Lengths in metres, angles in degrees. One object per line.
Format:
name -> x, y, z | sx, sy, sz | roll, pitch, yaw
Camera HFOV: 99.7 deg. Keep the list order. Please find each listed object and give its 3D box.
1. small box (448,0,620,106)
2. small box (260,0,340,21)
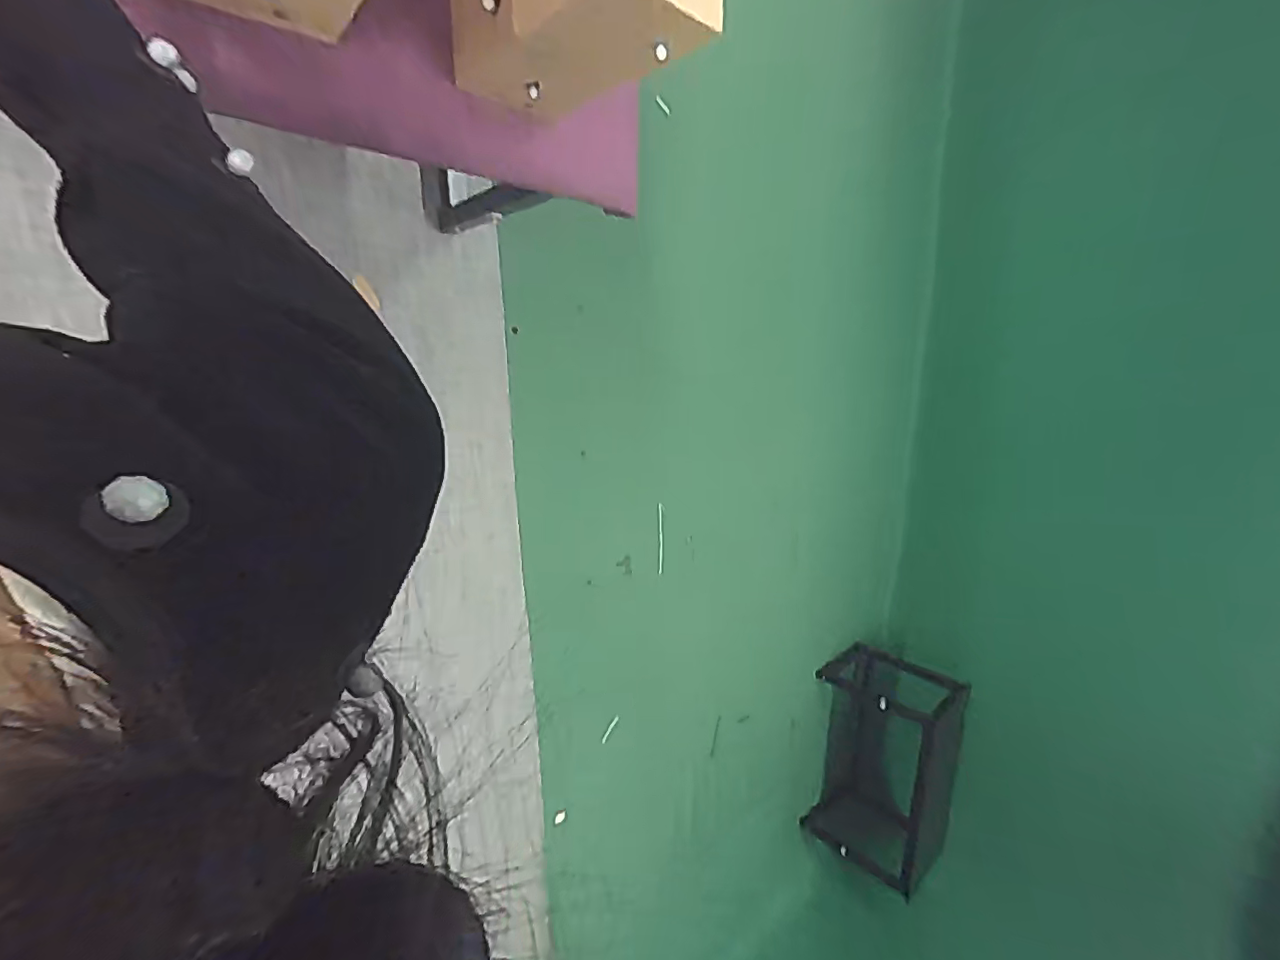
small box -> -0.142, -0.635, 0.715 | 0.168, 0.176, 0.179 | -11, 107, -42
small box -> -0.373, -0.586, 0.506 | 0.168, 0.176, 0.179 | -15, 109, -41
